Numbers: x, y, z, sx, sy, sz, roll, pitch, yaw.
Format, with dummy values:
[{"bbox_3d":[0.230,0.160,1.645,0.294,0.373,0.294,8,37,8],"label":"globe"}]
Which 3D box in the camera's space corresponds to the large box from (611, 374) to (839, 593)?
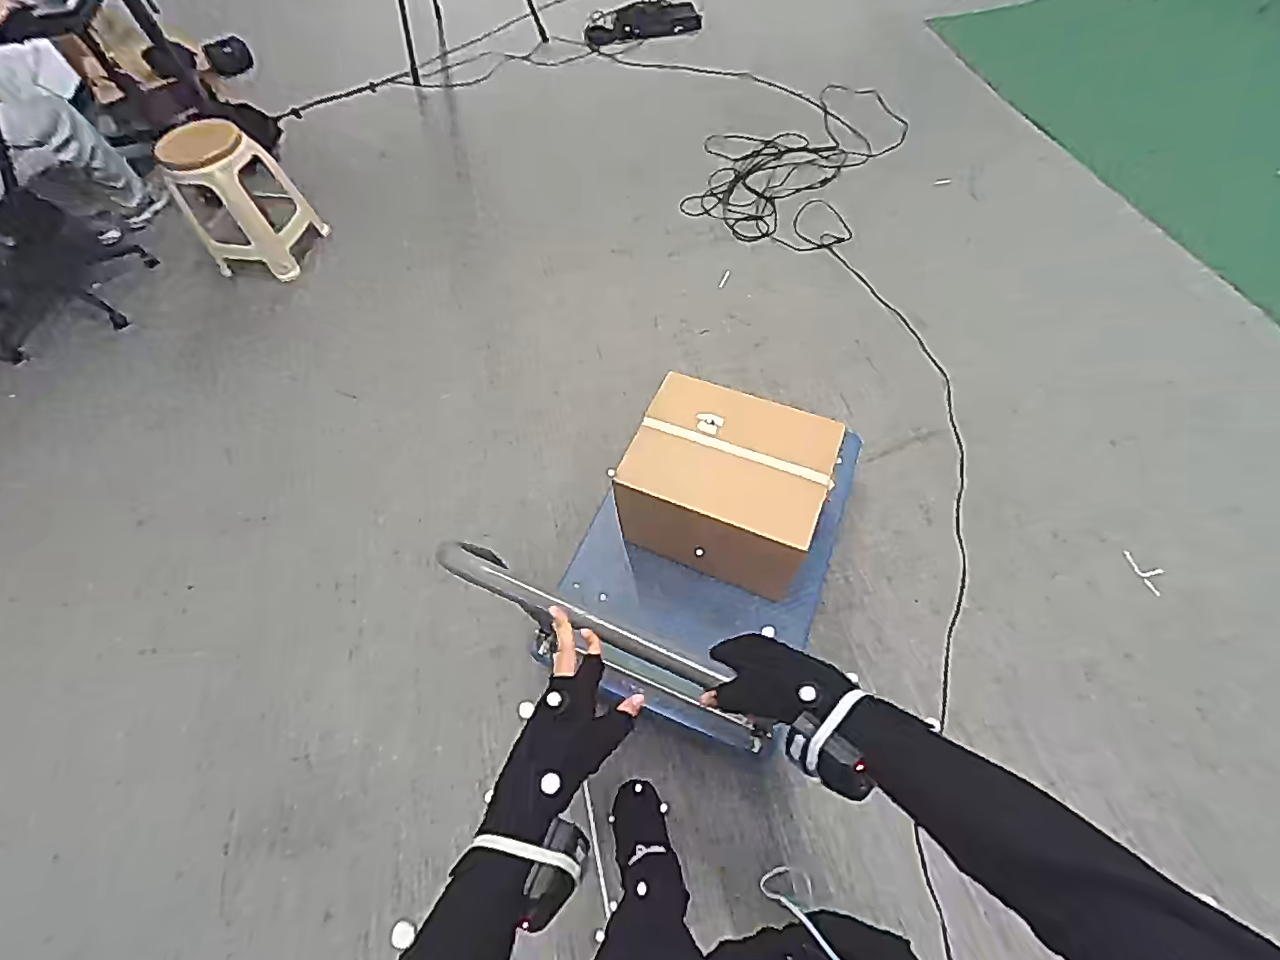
[{"bbox_3d":[0.193,0.014,1.252,0.408,0.320,0.320,20,63,15],"label":"large box"}]
